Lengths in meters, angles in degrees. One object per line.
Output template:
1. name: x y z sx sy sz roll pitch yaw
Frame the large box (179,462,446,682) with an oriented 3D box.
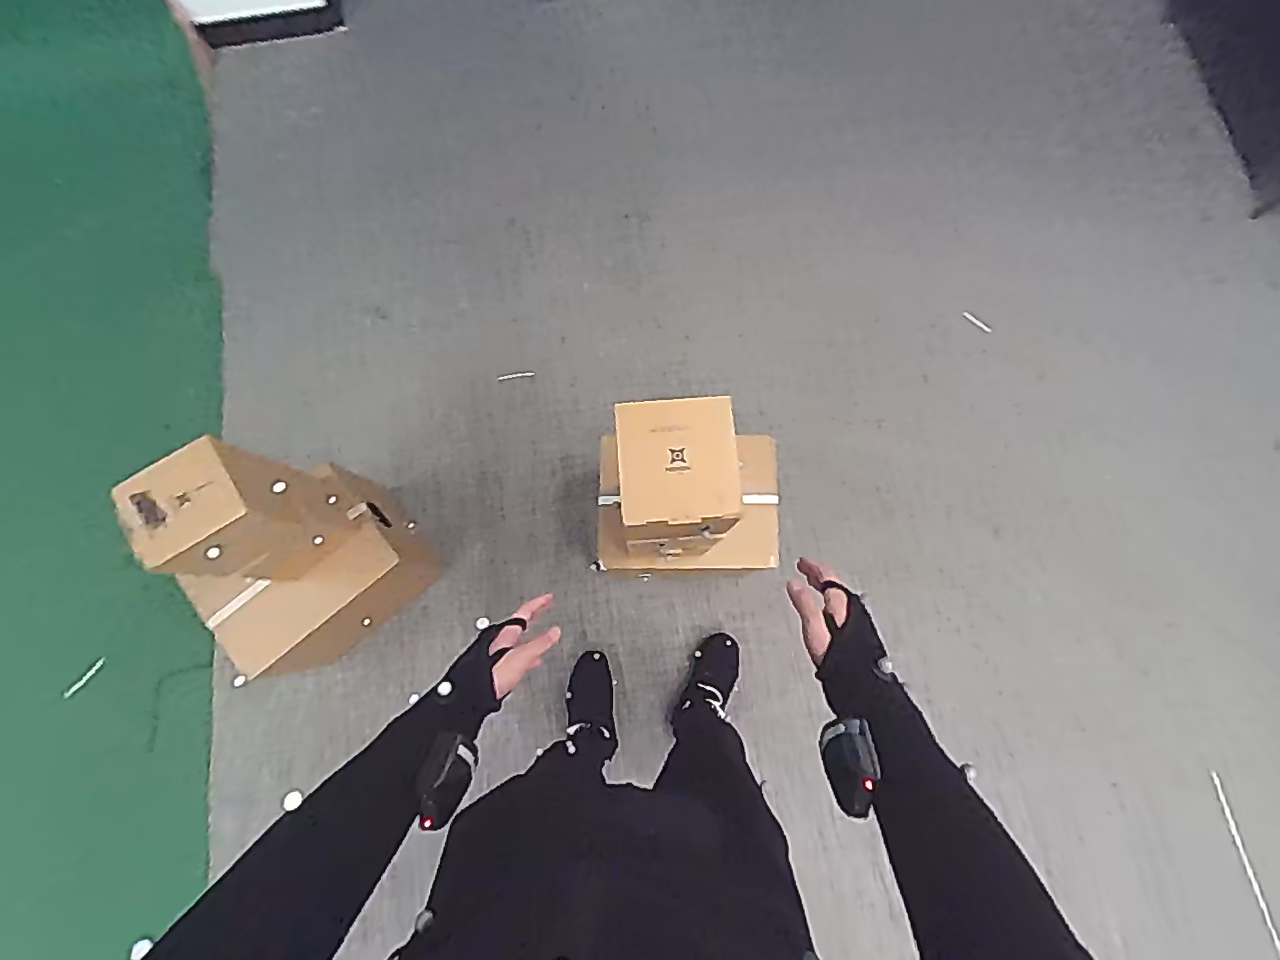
1. large box: -0.777 0.223 1.346 0.408 0.320 0.320 -40 79 -7

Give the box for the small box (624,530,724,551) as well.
1. small box: 0.055 0.034 0.971 0.168 0.176 0.179 -3 76 0

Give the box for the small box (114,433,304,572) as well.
1. small box: -0.755 0.050 0.965 0.179 0.176 0.168 -33 79 -7

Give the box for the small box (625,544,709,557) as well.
1. small box: 0.052 0.069 1.129 0.168 0.176 0.179 -2 78 -1

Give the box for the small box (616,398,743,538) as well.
1. small box: 0.053 -0.008 0.813 0.168 0.176 0.179 -3 76 -1
